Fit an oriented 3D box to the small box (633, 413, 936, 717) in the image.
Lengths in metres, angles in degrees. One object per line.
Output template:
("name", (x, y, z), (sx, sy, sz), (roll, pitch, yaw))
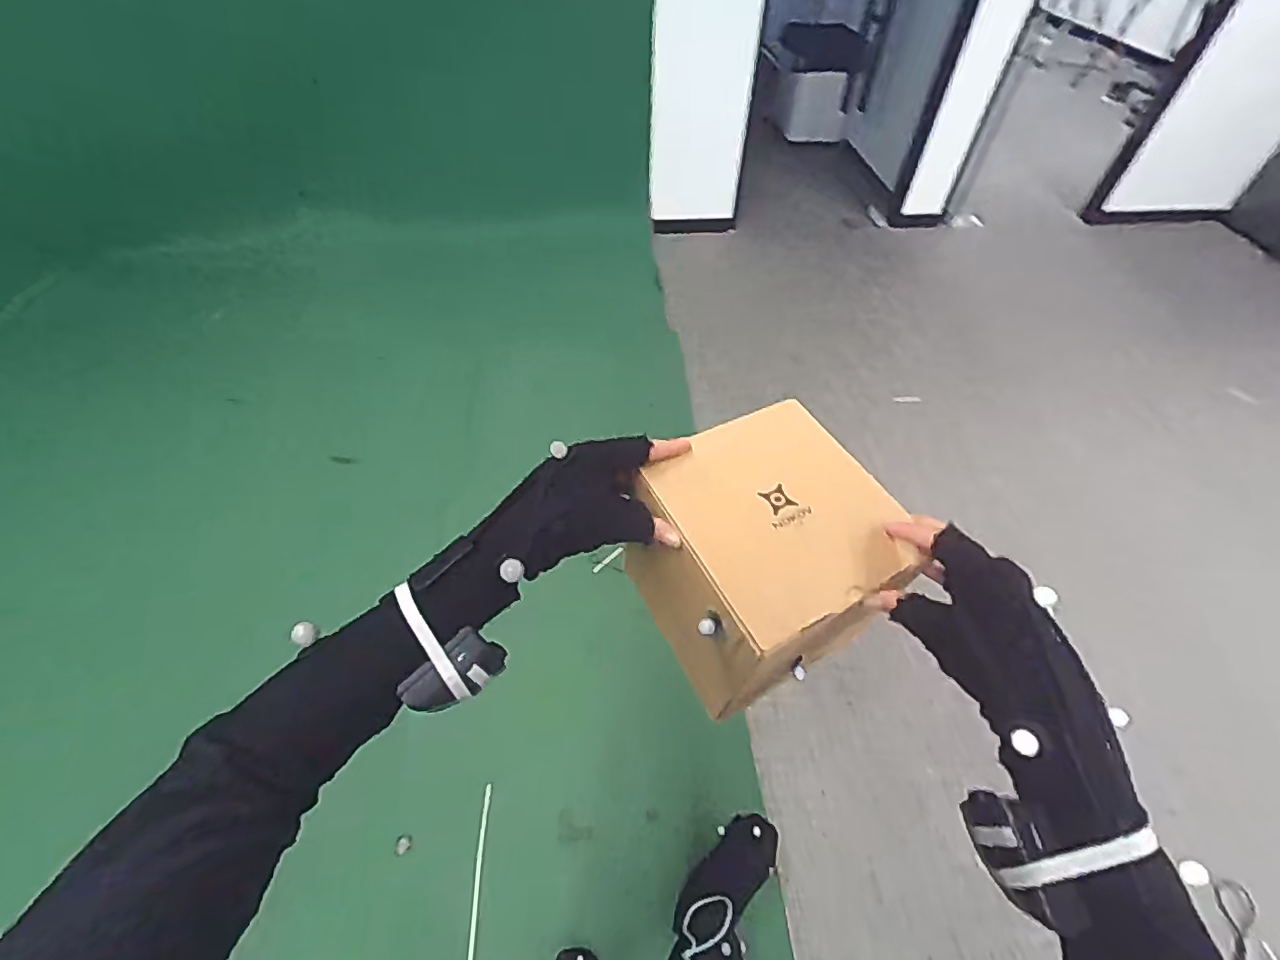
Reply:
("small box", (0.103, 0.076, 0.479), (0.168, 0.176, 0.179), (-21, 57, -20))
